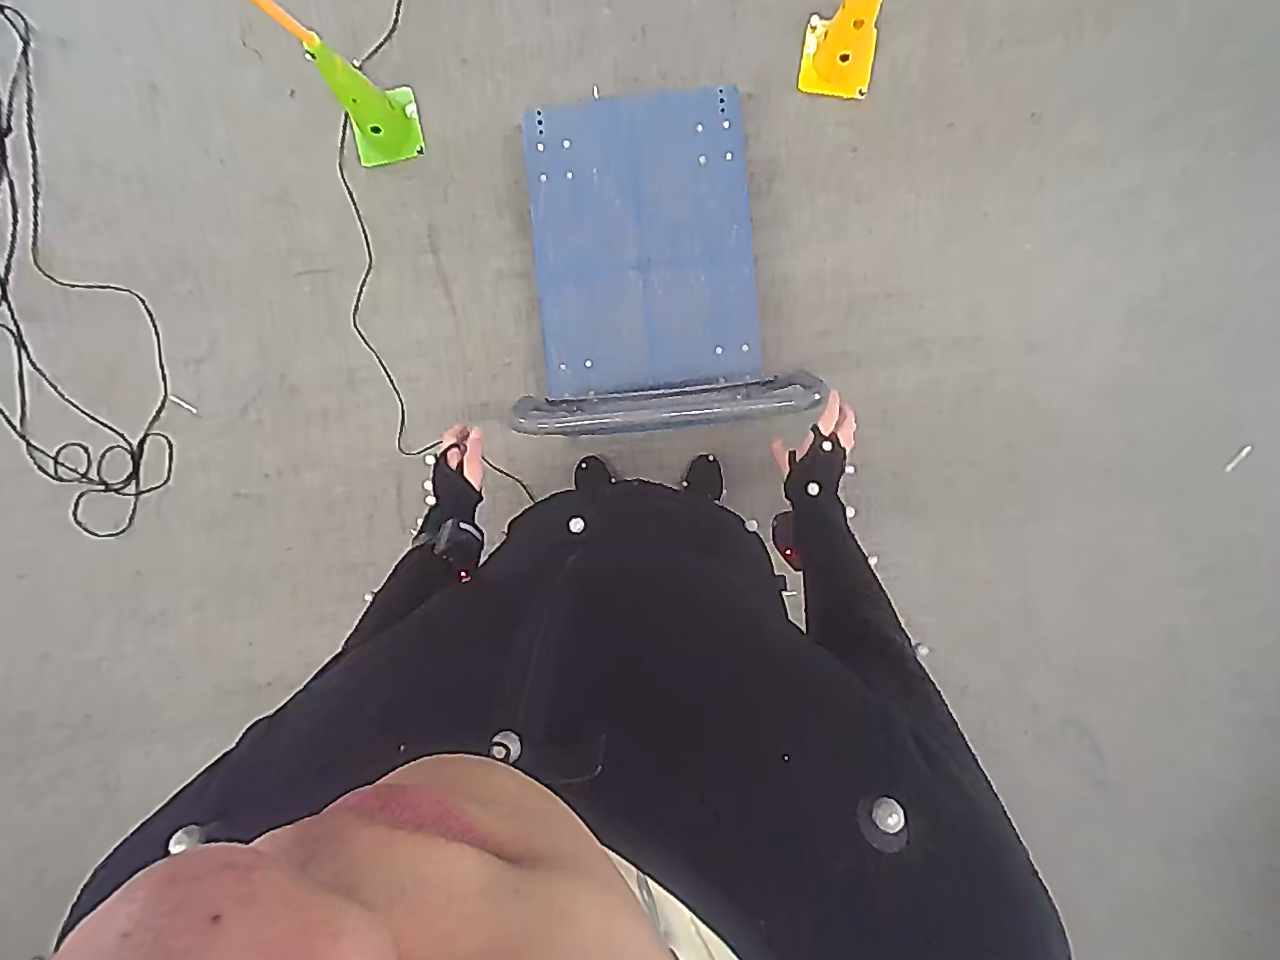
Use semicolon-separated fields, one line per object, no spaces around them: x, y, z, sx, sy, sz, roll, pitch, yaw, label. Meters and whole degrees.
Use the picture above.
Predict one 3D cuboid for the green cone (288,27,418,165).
-0.774;-1.036;1.416;0.202;0.368;0.200;-12;92;4;green cone
